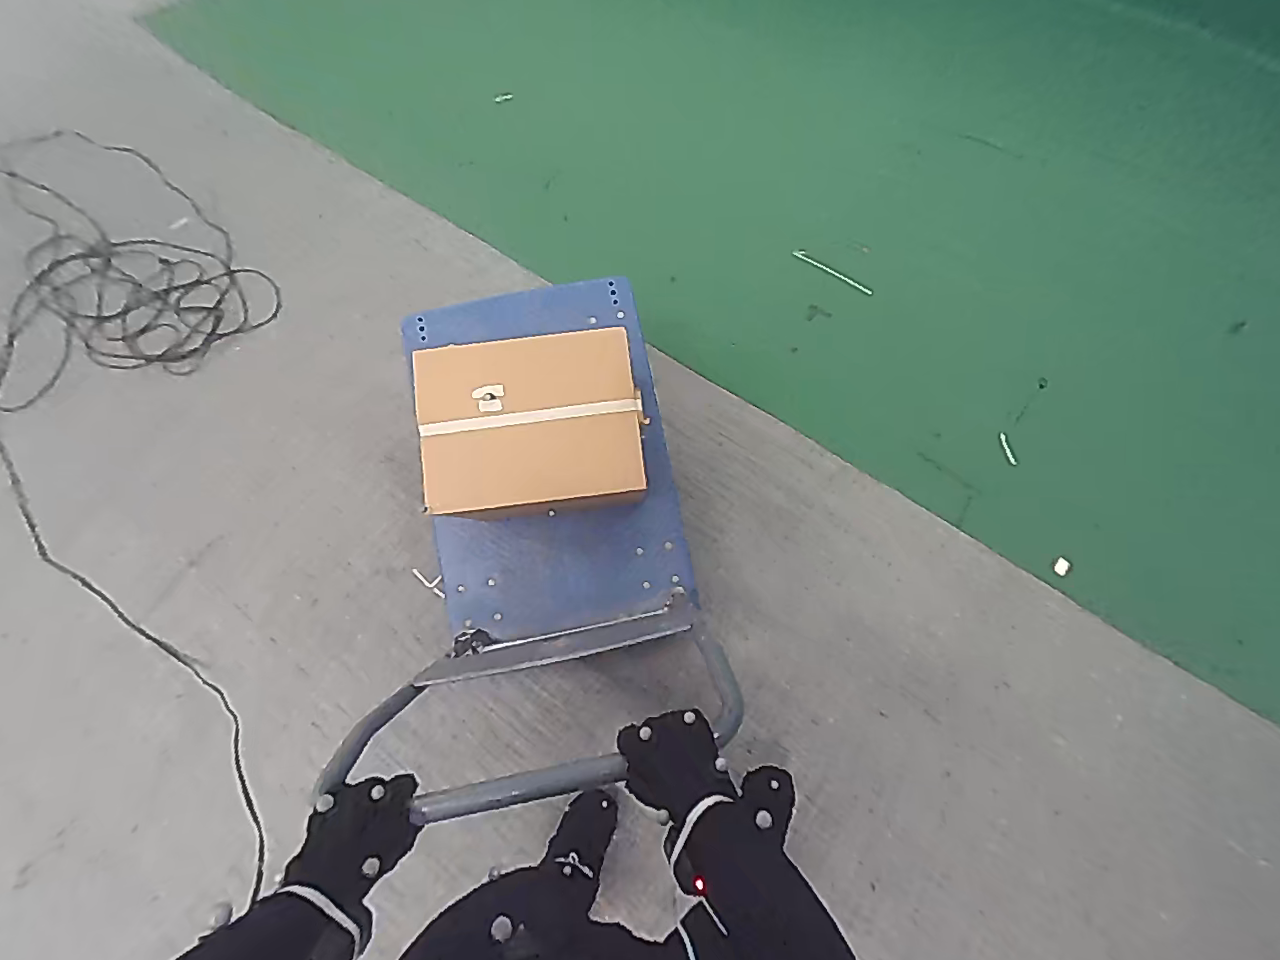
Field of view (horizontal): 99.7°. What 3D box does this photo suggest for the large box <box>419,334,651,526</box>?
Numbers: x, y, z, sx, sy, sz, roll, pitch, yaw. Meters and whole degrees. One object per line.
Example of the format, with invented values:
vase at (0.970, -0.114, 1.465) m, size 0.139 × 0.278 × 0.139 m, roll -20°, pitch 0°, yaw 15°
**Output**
large box at (-0.197, -0.082, 1.147) m, size 0.408 × 0.320 × 0.320 m, roll -8°, pitch 83°, yaw 0°
